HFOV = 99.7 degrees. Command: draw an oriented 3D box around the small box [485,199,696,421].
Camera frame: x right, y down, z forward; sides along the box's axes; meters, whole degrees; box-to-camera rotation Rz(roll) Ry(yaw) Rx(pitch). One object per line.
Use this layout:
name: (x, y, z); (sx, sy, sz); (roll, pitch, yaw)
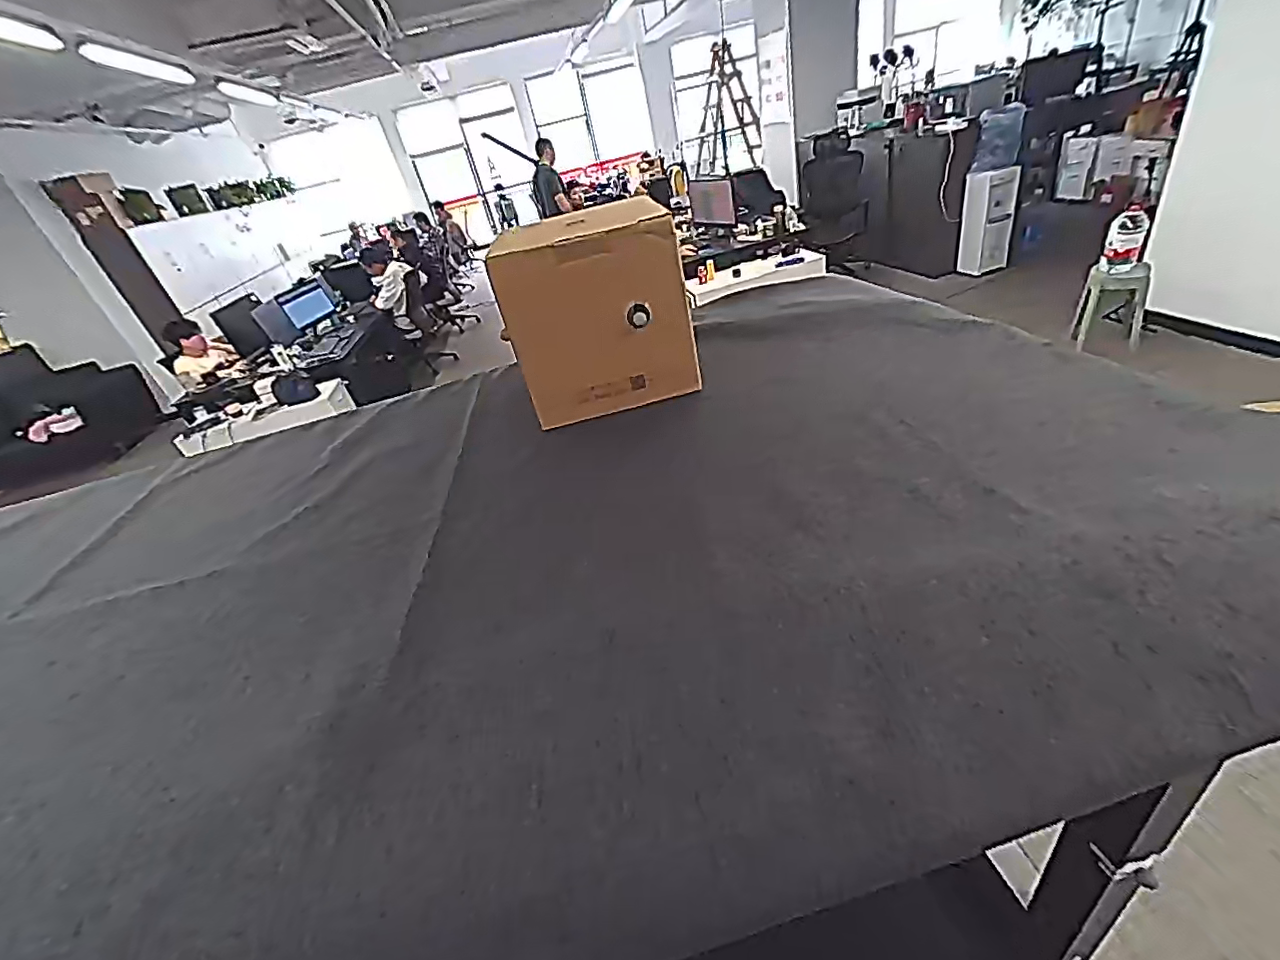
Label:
small box: (-0.046, -0.174, 0.561); (0.168, 0.176, 0.179); (-13, 32, -1)
